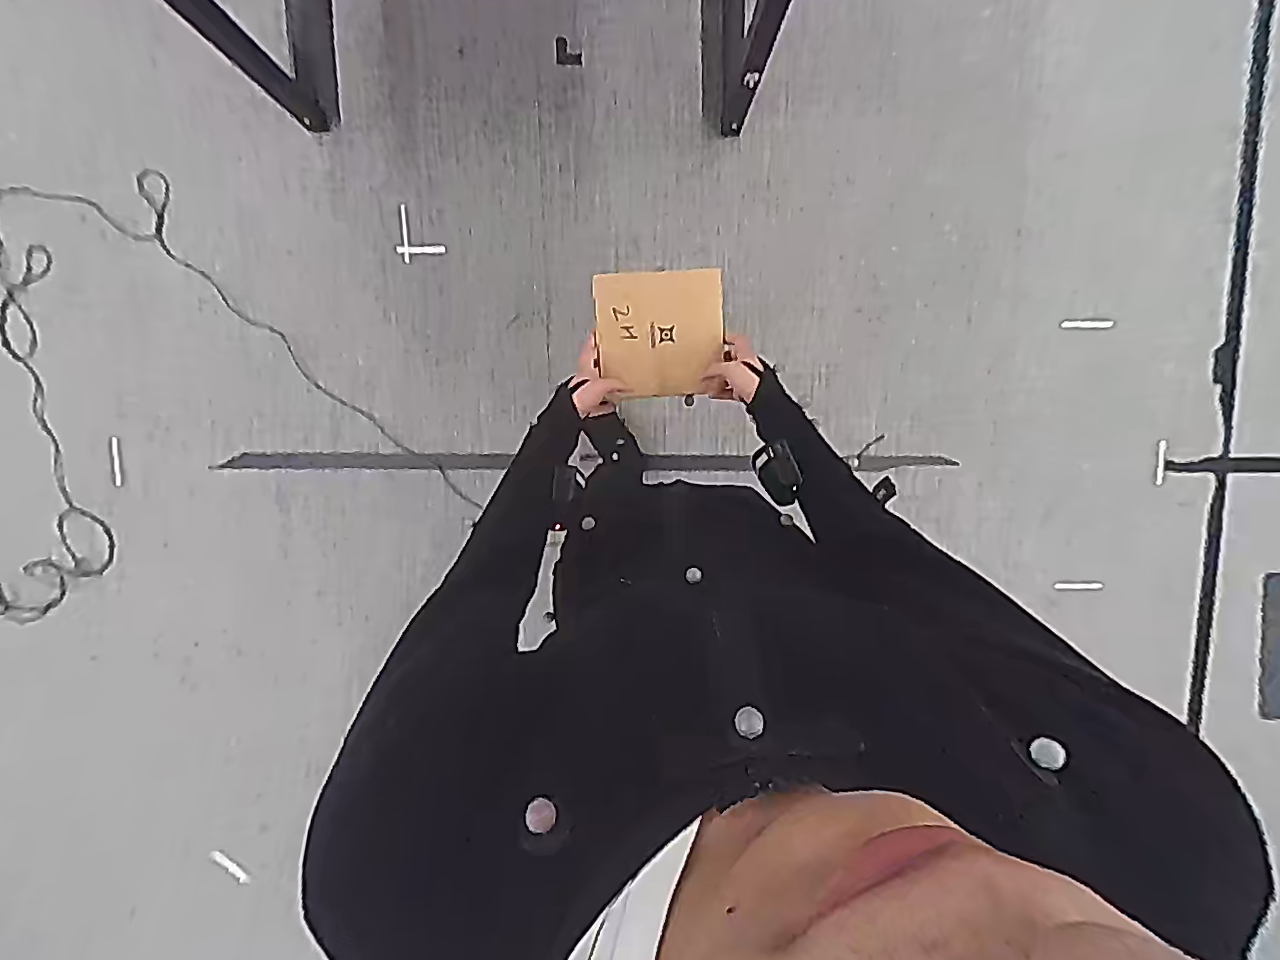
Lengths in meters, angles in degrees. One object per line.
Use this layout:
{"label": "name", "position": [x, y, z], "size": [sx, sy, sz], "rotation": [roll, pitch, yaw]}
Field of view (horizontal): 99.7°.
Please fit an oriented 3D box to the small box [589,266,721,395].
{"label": "small box", "position": [0.016, -0.215, 0.809], "size": [0.179, 0.176, 0.168], "rotation": [-4, 98, -3]}
